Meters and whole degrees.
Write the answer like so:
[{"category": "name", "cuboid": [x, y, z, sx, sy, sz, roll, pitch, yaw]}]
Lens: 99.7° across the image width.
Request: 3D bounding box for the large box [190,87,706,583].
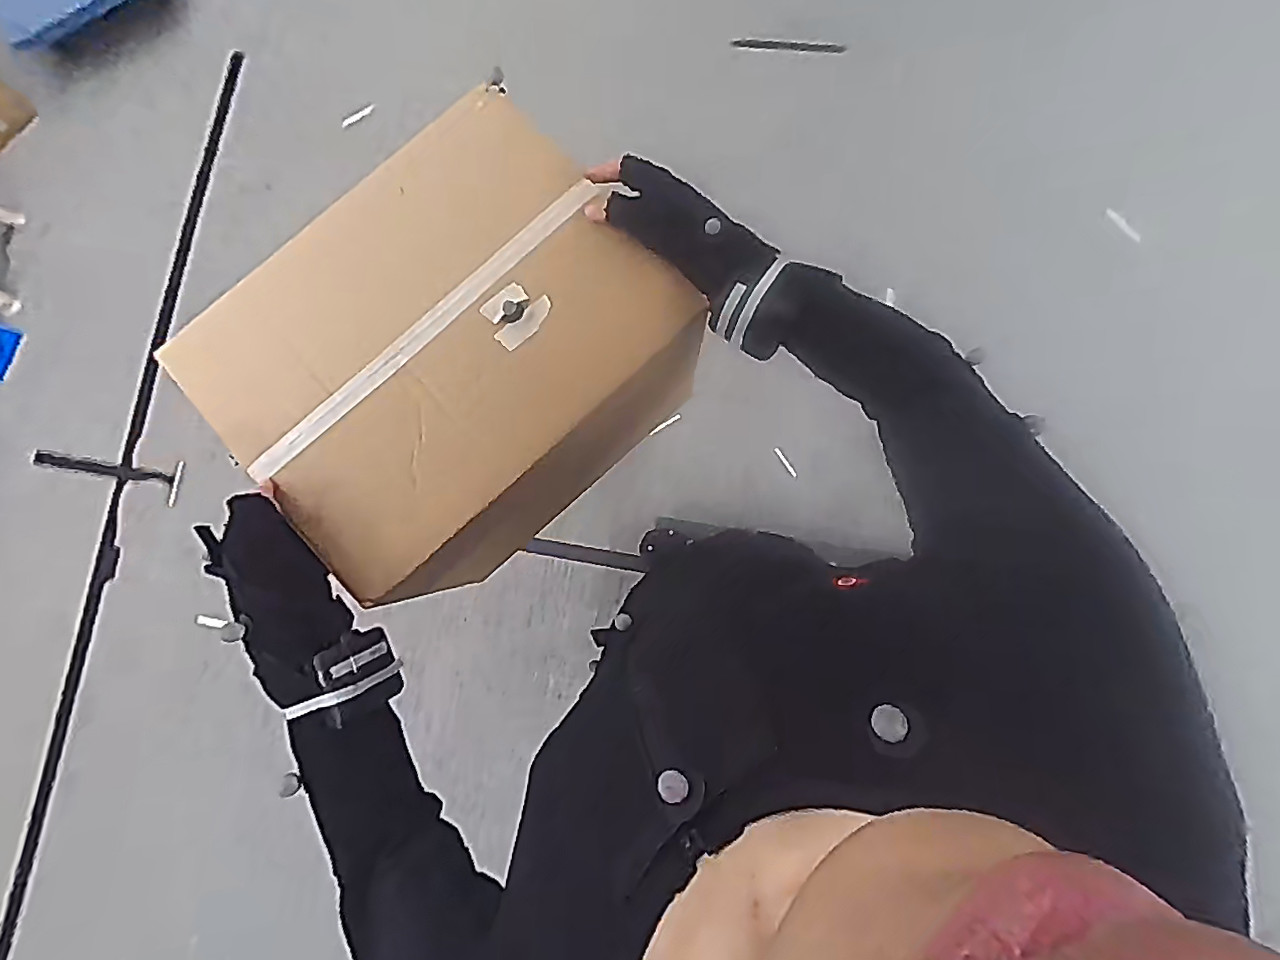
[{"category": "large box", "cuboid": [-0.178, -0.128, 0.651, 0.408, 0.320, 0.320, -42, 84, -4]}]
